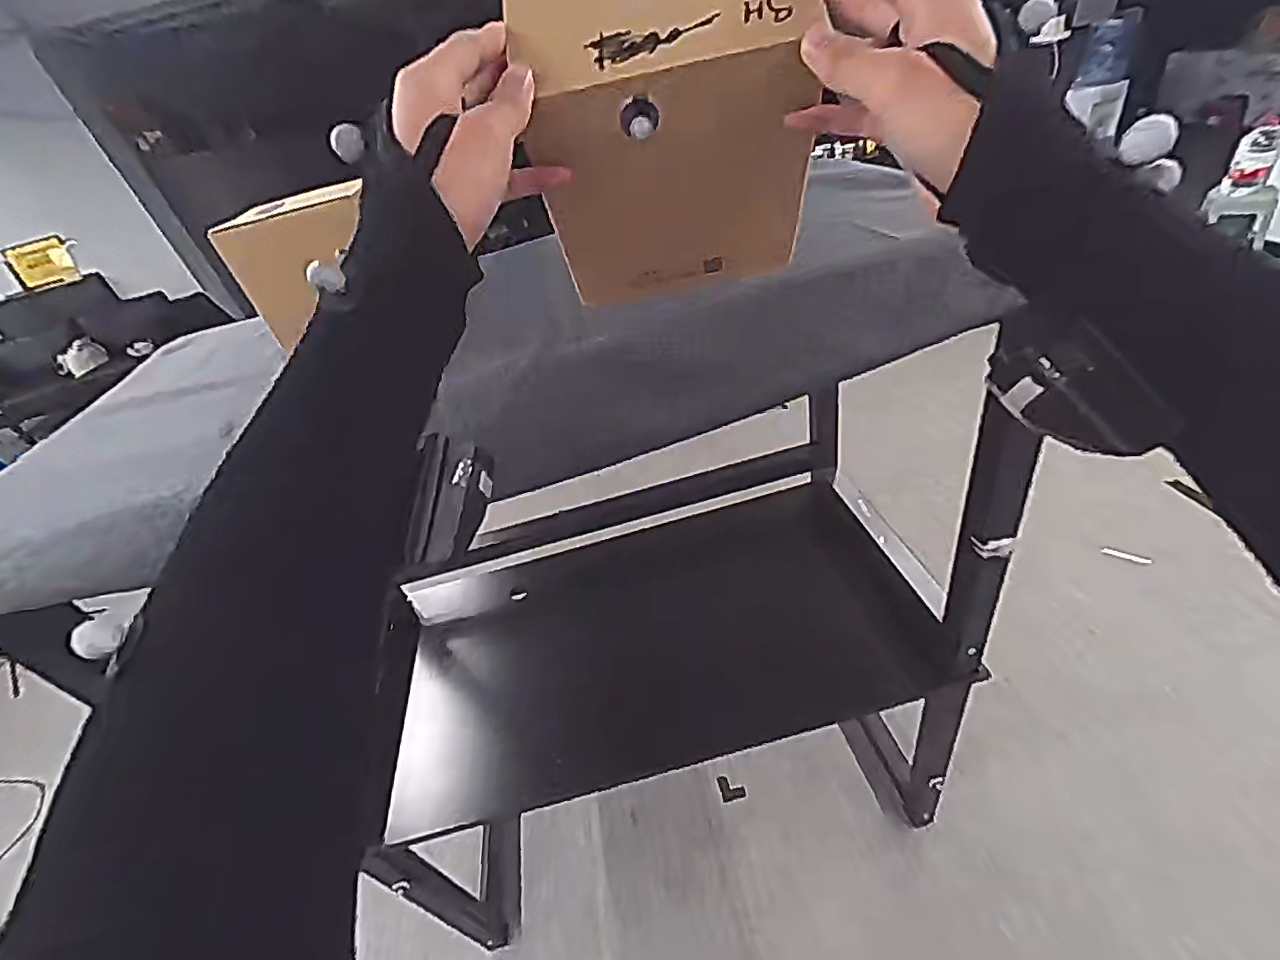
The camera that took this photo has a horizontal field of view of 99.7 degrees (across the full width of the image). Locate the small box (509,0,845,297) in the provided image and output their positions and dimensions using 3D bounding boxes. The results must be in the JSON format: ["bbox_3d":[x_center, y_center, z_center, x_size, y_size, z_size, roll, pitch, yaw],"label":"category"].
[{"bbox_3d":[0.018,-0.257,0.366,0.168,0.176,0.179,-9,68,4],"label":"small box"}]
